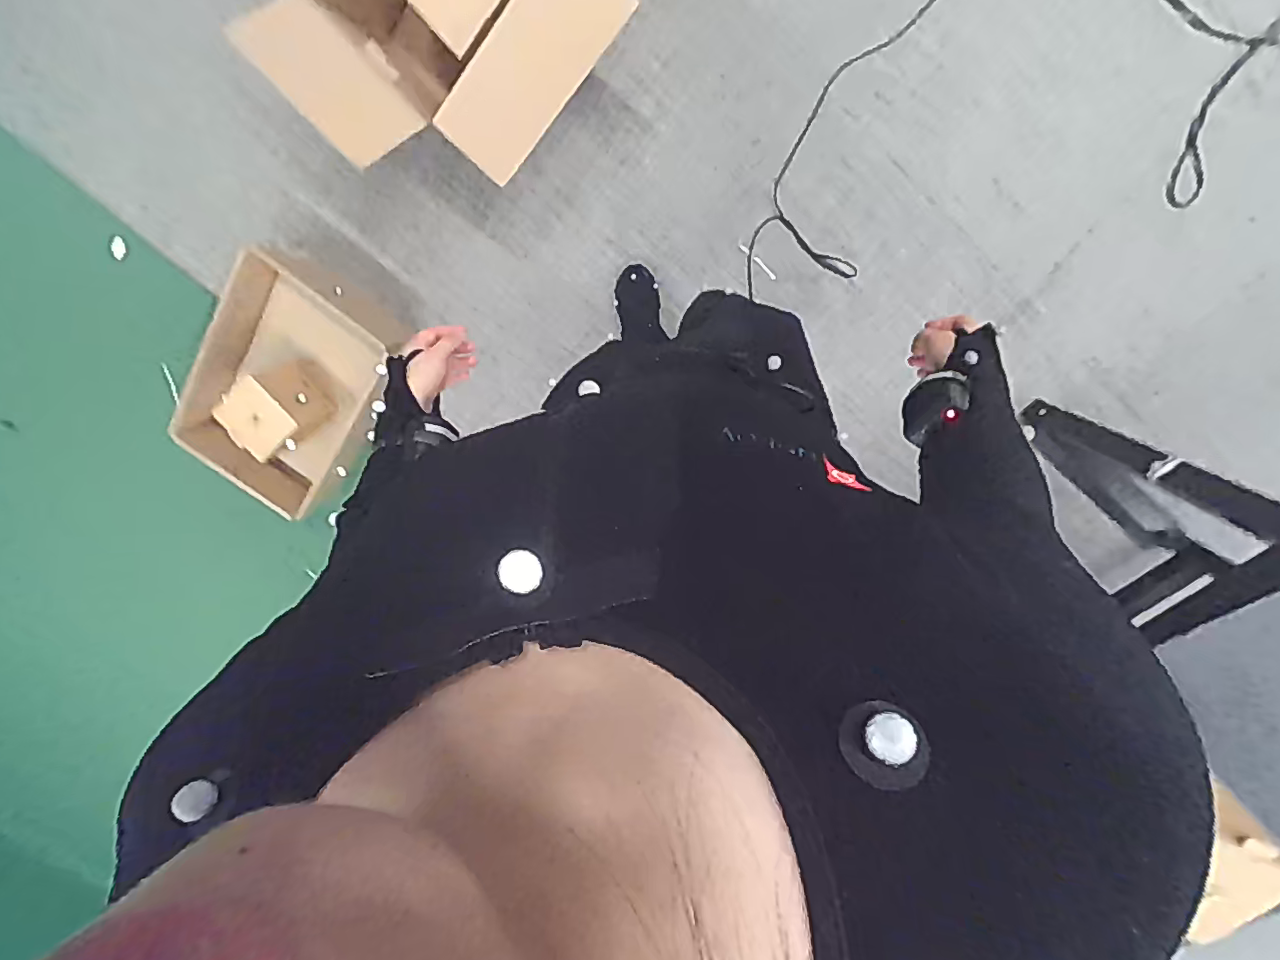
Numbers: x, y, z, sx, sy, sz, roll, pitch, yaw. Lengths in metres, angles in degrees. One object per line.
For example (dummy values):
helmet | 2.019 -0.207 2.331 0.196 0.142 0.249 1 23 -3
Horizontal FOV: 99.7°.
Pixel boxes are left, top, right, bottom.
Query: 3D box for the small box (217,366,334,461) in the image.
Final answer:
small box | -0.969 -0.187 1.459 0.179 0.176 0.168 -36 103 18
